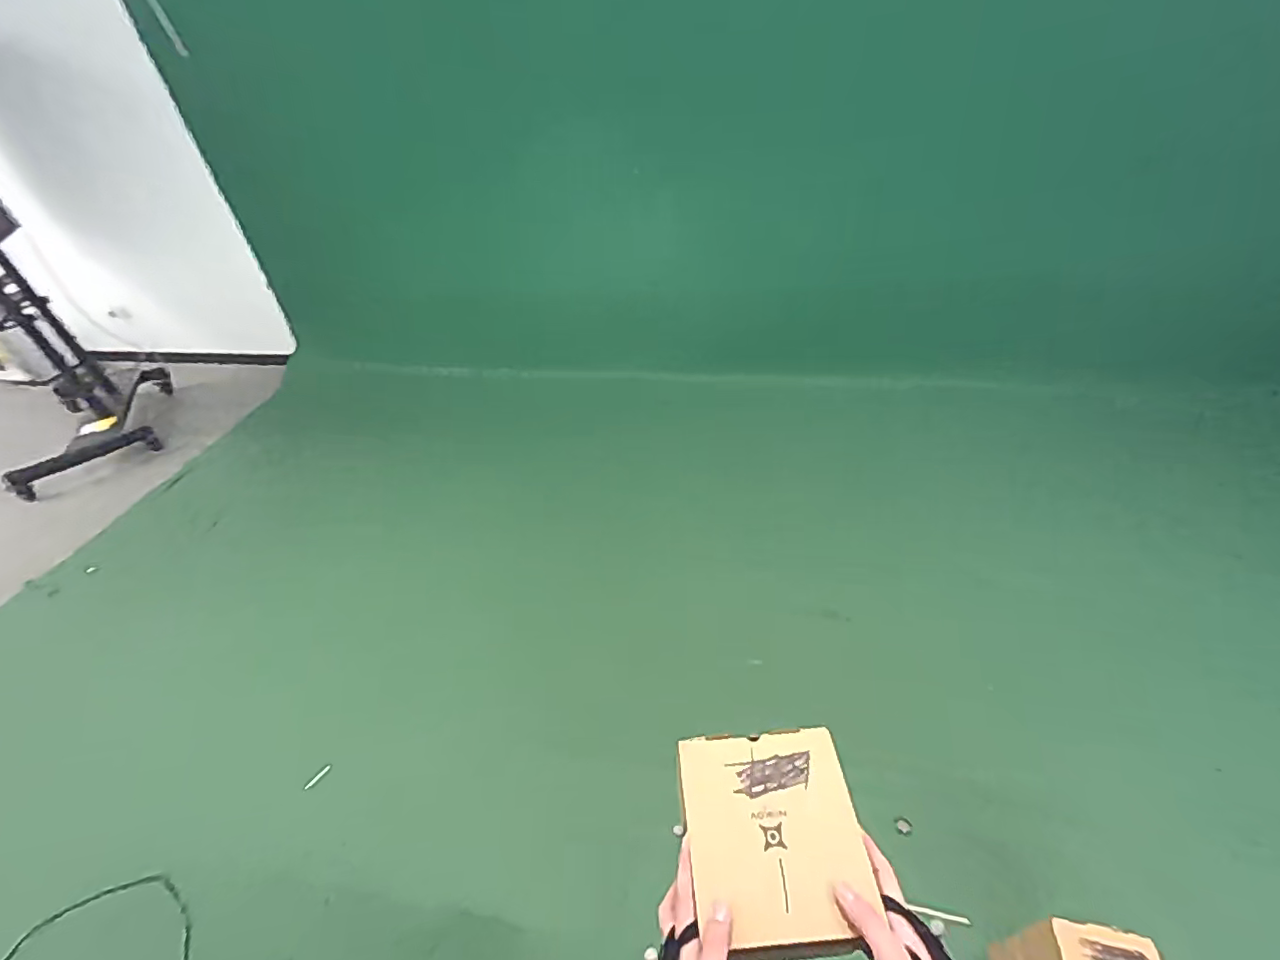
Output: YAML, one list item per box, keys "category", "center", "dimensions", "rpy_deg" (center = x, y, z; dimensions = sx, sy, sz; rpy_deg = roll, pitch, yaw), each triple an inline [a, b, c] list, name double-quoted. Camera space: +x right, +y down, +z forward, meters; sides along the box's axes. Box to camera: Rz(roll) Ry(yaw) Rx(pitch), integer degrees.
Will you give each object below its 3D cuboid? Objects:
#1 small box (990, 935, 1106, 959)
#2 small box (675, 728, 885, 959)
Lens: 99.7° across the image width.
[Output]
- category: "small box"
  center: [0.837, 1.062, 1.086]
  dimensions: [0.168, 0.176, 0.179]
  rpy_deg: [6, 43, 12]
- category: "small box"
  center: [0.127, 0.389, 0.573]
  dimensions: [0.168, 0.176, 0.179]
  rpy_deg: [-5, 45, 0]
